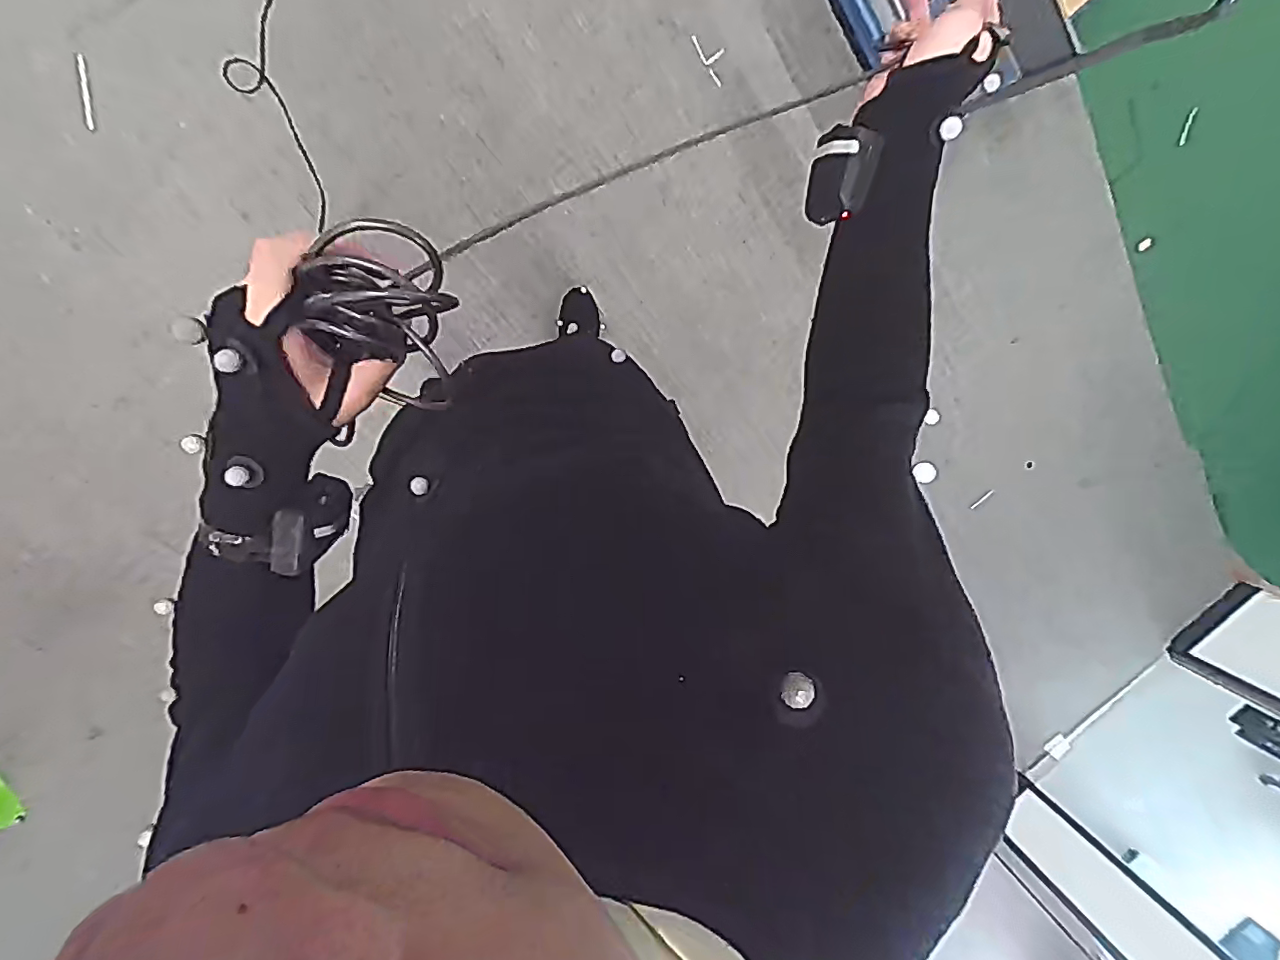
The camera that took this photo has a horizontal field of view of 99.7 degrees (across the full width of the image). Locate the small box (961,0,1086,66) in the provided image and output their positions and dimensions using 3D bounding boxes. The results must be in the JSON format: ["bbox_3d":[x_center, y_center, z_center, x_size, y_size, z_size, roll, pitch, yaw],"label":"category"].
[{"bbox_3d":[0.927,-1.160,1.301,0.179,0.176,0.168,-41,112,2],"label":"small box"}]
